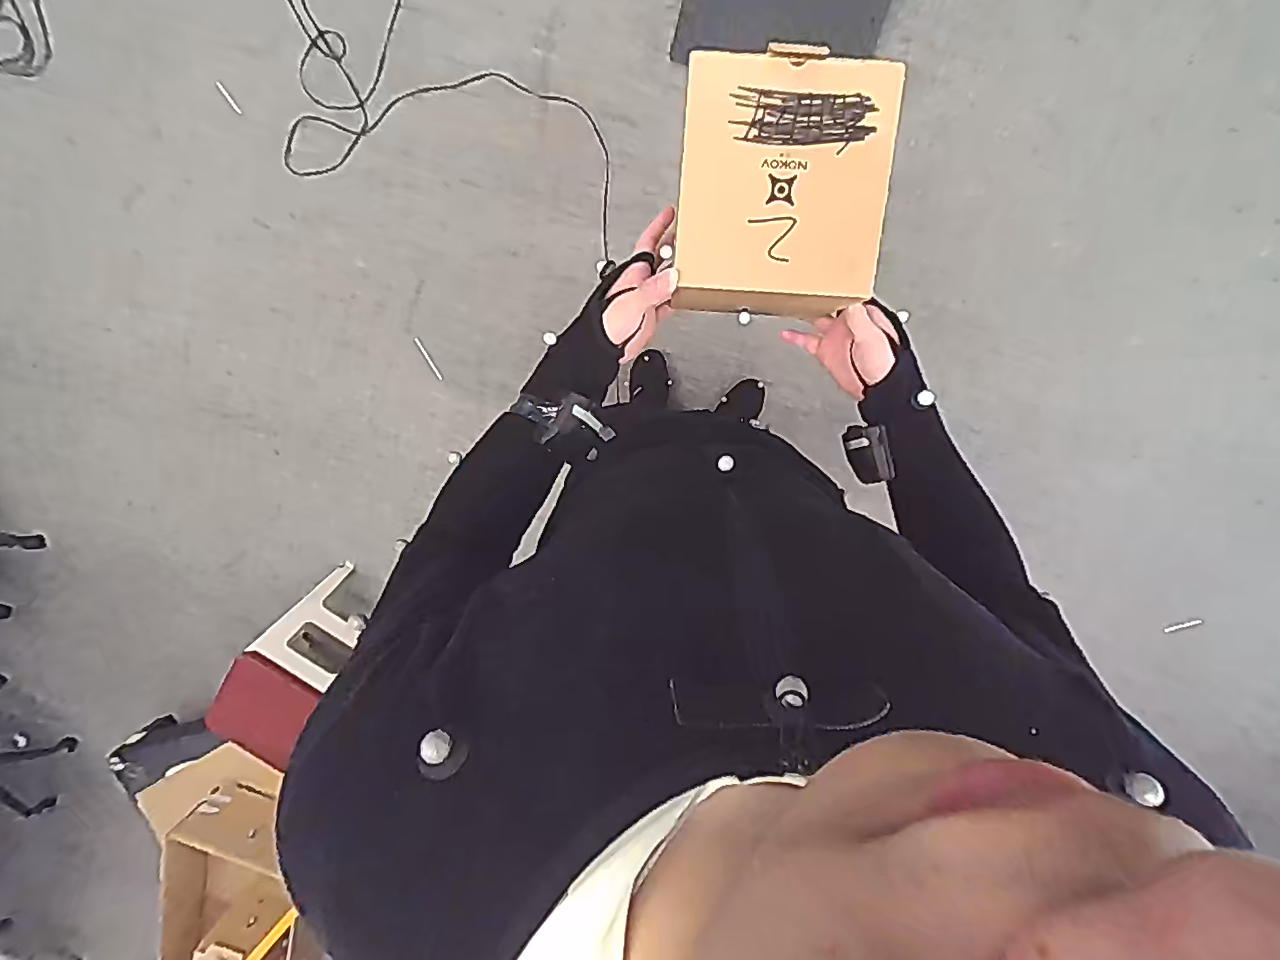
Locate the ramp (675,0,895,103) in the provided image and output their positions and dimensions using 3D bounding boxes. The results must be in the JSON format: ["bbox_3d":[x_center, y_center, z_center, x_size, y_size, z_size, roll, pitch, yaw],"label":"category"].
[{"bbox_3d":[0.438,-1.446,1.159,0.509,0.206,0.991,15,105,1],"label":"ramp"}]
